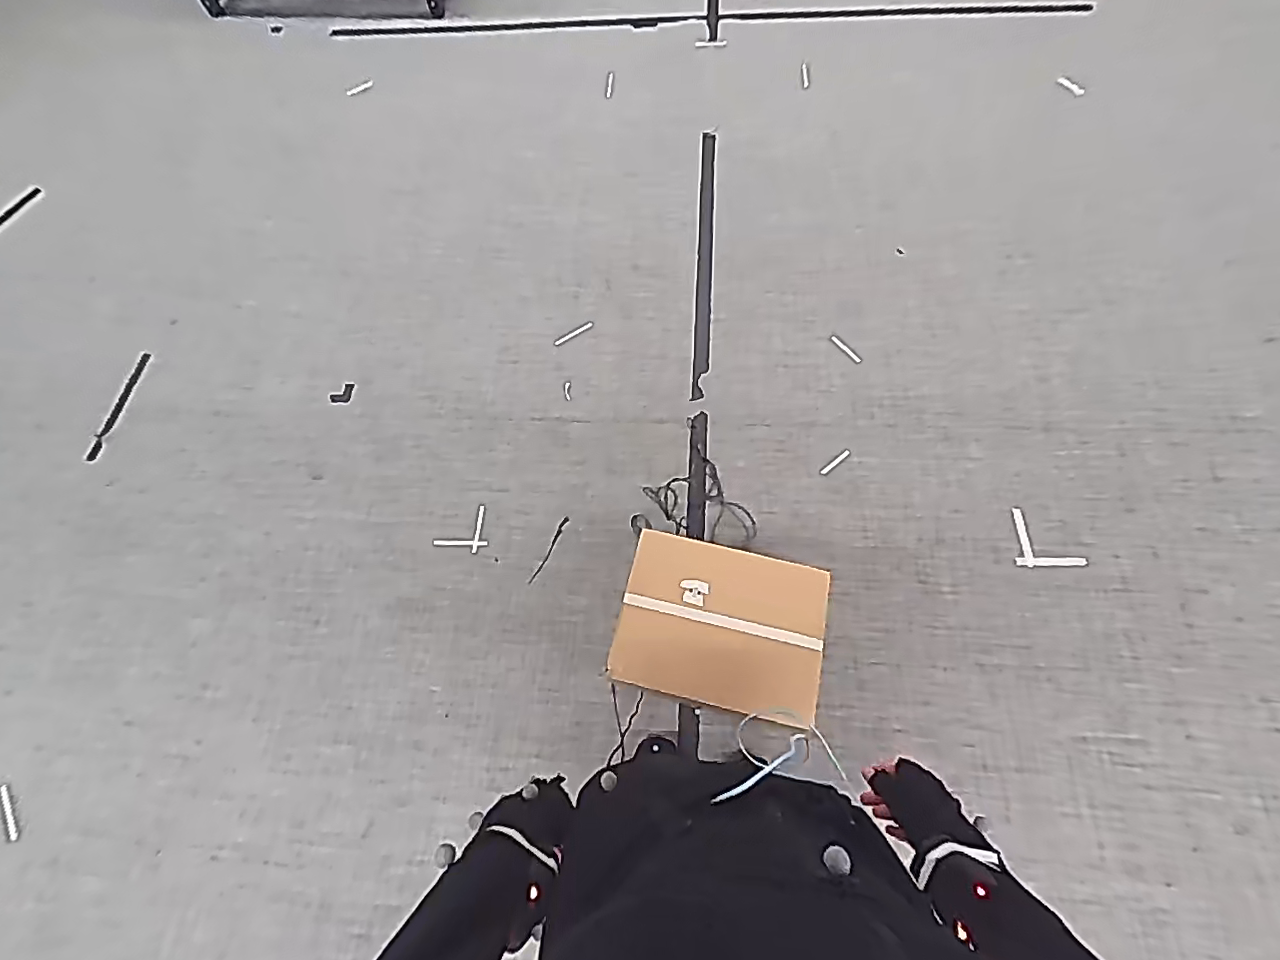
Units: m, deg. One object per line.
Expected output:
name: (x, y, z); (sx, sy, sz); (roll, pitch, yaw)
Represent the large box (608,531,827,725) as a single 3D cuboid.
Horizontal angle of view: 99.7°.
large box: (0.170, 0.344, 1.225); (0.408, 0.320, 0.320); (13, 66, 7)
